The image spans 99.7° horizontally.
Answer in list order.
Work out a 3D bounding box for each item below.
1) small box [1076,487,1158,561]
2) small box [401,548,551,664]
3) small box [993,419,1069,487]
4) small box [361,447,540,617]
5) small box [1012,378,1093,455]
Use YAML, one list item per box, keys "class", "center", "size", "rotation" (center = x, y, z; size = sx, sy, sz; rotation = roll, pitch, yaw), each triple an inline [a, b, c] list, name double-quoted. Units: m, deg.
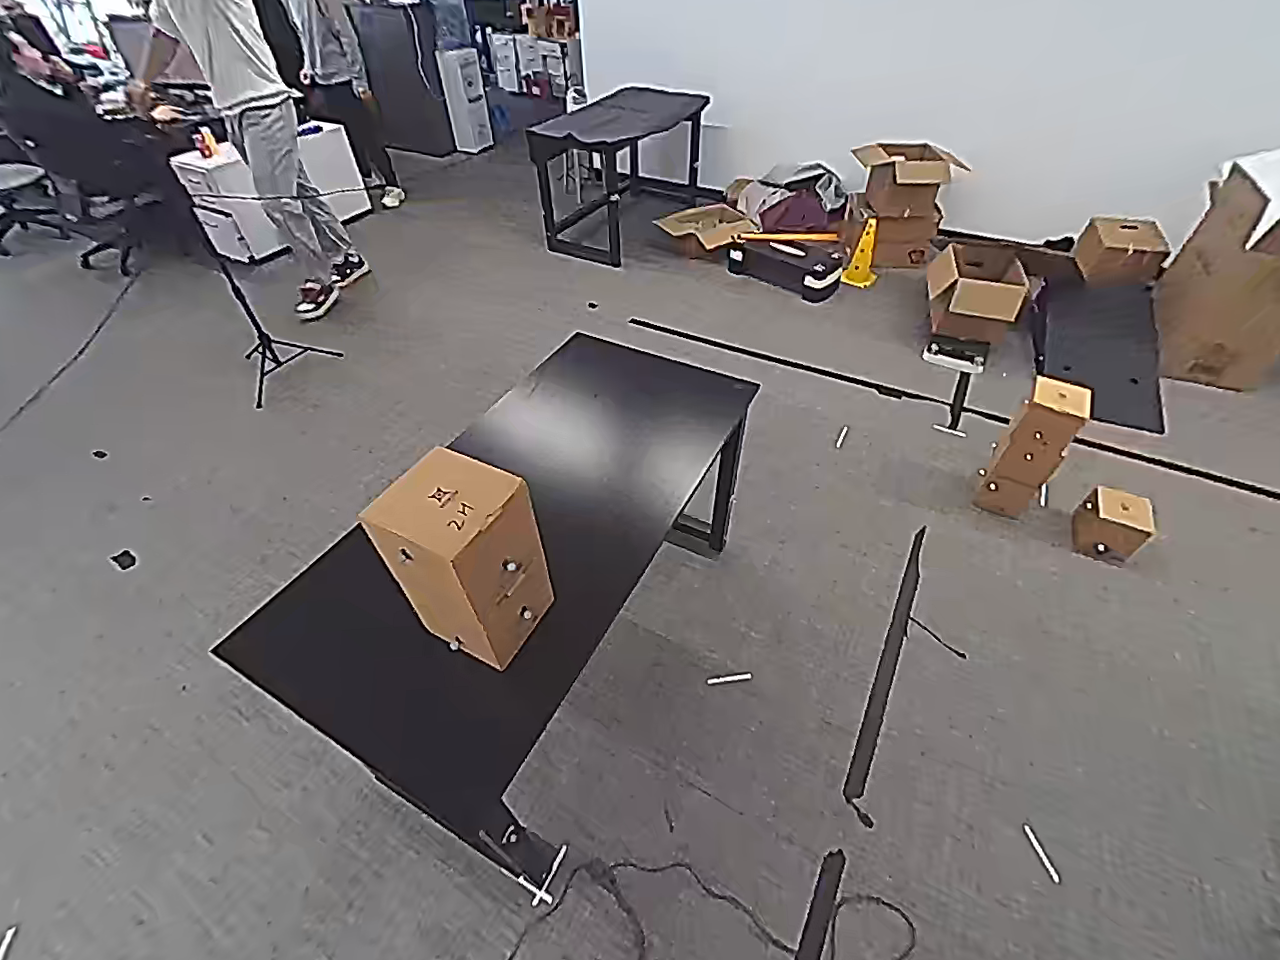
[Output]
- class: "small box"
  center: [1.720, 0.161, 1.959]
  size: [0.168, 0.176, 0.179]
  rotation: [19, 51, 20]
- class: "small box"
  center: [-0.274, 0.196, 0.951]
  size: [0.179, 0.176, 0.168]
  rotation: [20, 50, 18]
- class: "small box"
  center: [1.430, -0.100, 1.981]
  size: [0.179, 0.176, 0.168]
  rotation: [22, 50, 19]
- class: "small box"
  center: [-0.278, 0.081, 0.832]
  size: [0.179, 0.176, 0.168]
  rotation: [20, 50, 19]
- class: "small box"
  center: [1.423, -0.220, 1.871]
  size: [0.168, 0.176, 0.179]
  rotation: [24, 52, 21]
